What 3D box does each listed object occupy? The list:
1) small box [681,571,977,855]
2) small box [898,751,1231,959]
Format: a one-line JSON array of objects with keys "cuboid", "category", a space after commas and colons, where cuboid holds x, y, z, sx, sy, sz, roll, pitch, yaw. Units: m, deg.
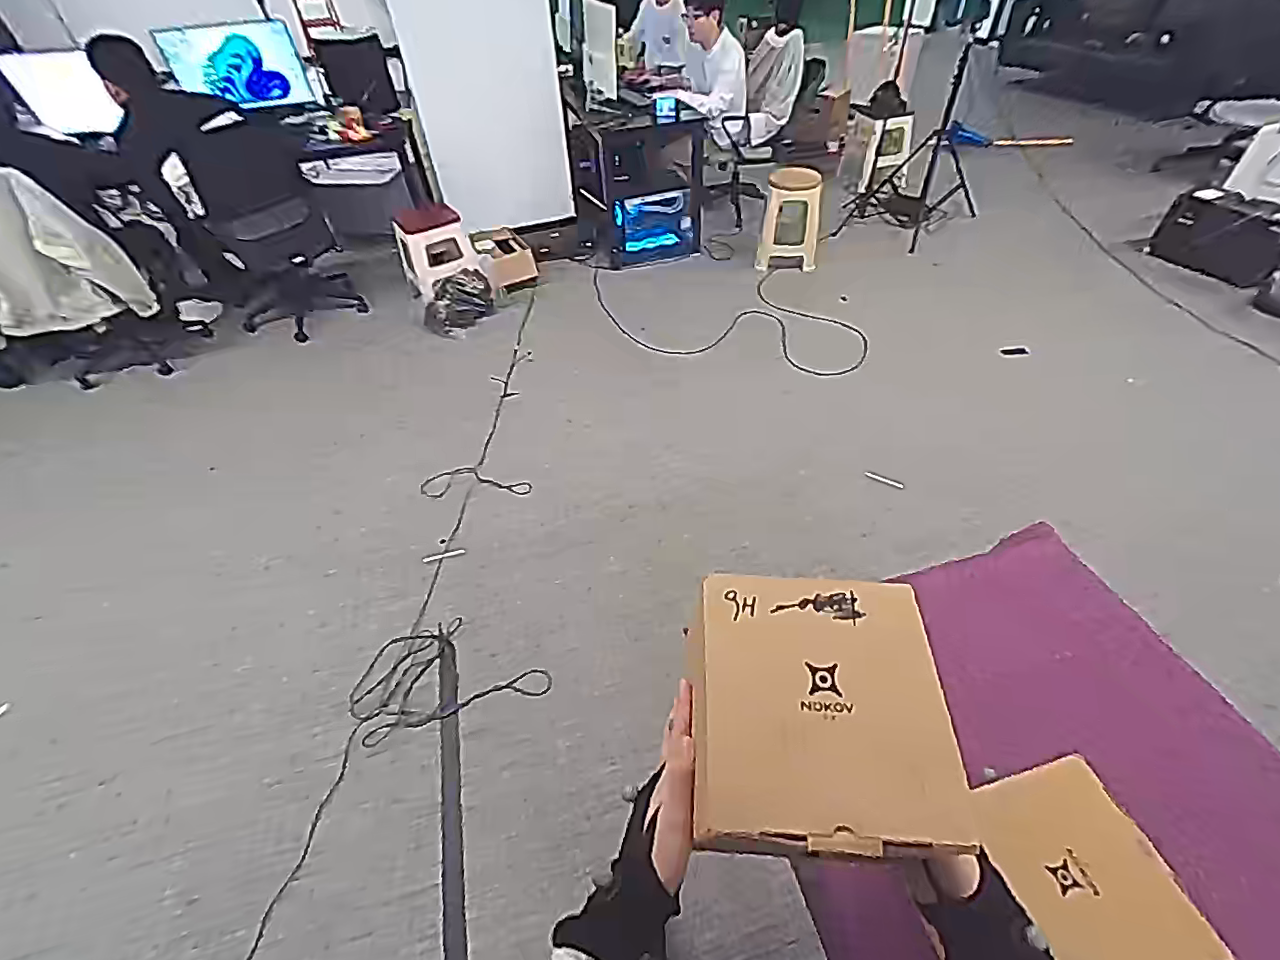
[{"cuboid": [0.124, 0.192, 0.436, 0.168, 0.176, 0.179, 4, 54, 0], "category": "small box"}, {"cuboid": [0.387, 0.405, 0.541, 0.179, 0.176, 0.168, -12, 47, -9], "category": "small box"}]
